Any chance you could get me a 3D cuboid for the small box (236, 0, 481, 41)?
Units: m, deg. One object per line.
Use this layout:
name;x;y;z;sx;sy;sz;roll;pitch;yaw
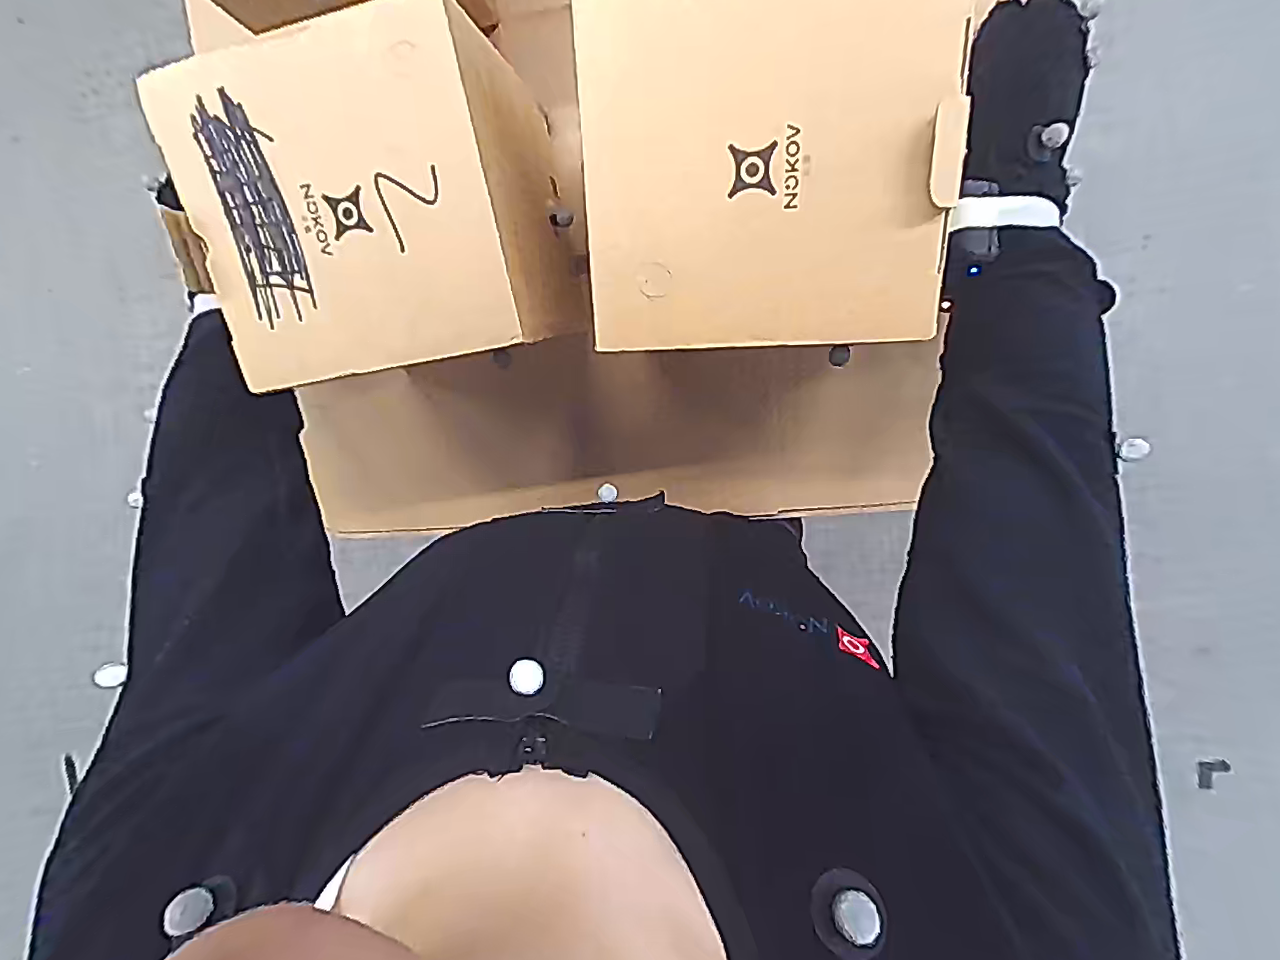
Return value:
small box;-0.209;-0.406;0.321;0.168;0.176;0.179;-5;99;9
